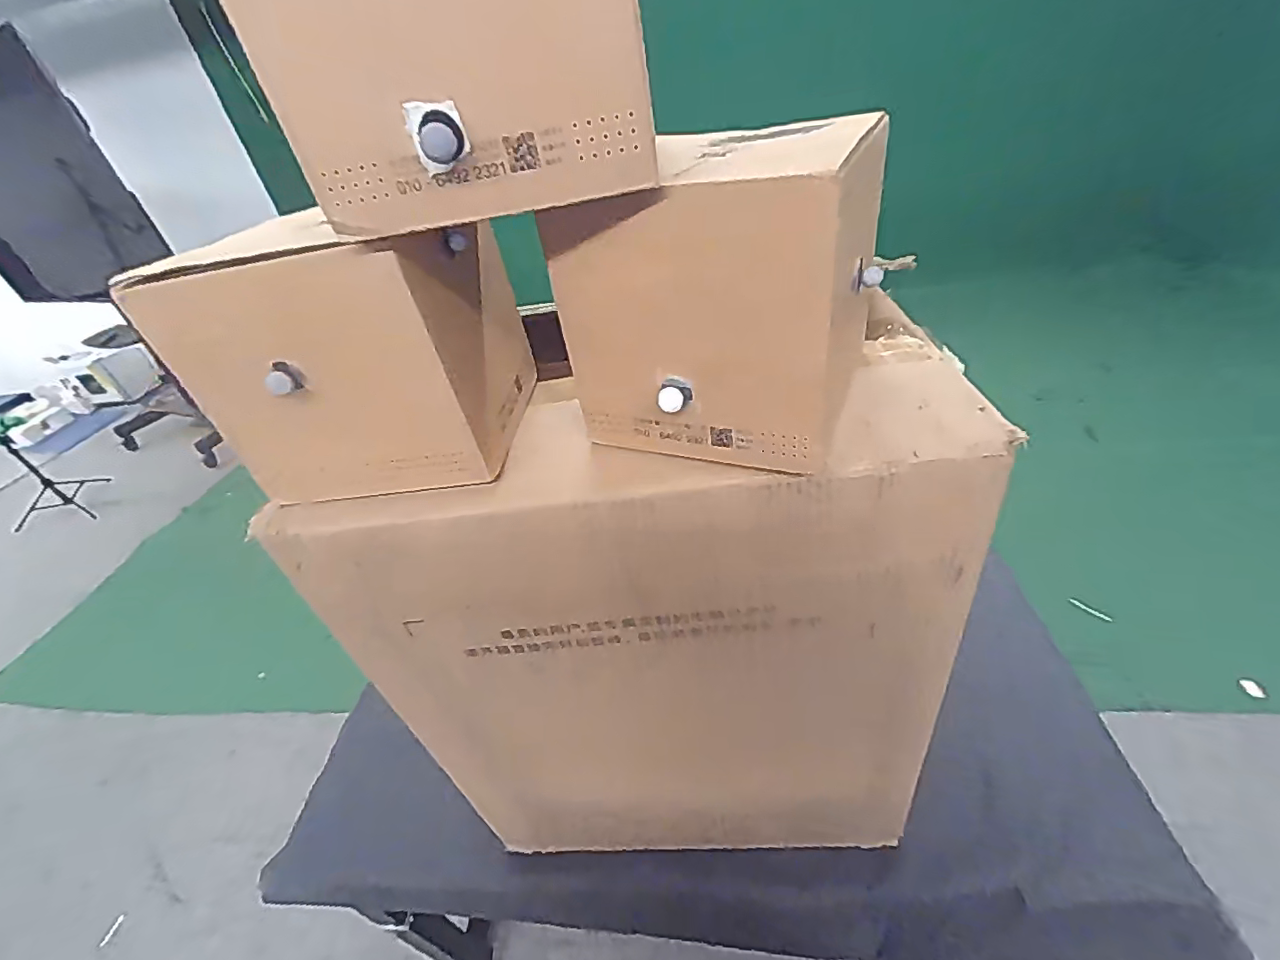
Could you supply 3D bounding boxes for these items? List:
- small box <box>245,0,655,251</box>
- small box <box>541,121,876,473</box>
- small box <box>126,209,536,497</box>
[{"bbox_3d":[-0.086,-0.240,0.291,0.168,0.176,0.179,-9,38,6],"label":"small box"},{"bbox_3d":[0.057,-0.130,0.377,0.168,0.176,0.179,10,43,25],"label":"small box"},{"bbox_3d":[-0.199,-0.102,0.412,0.179,0.176,0.168,-7,38,8],"label":"small box"}]
